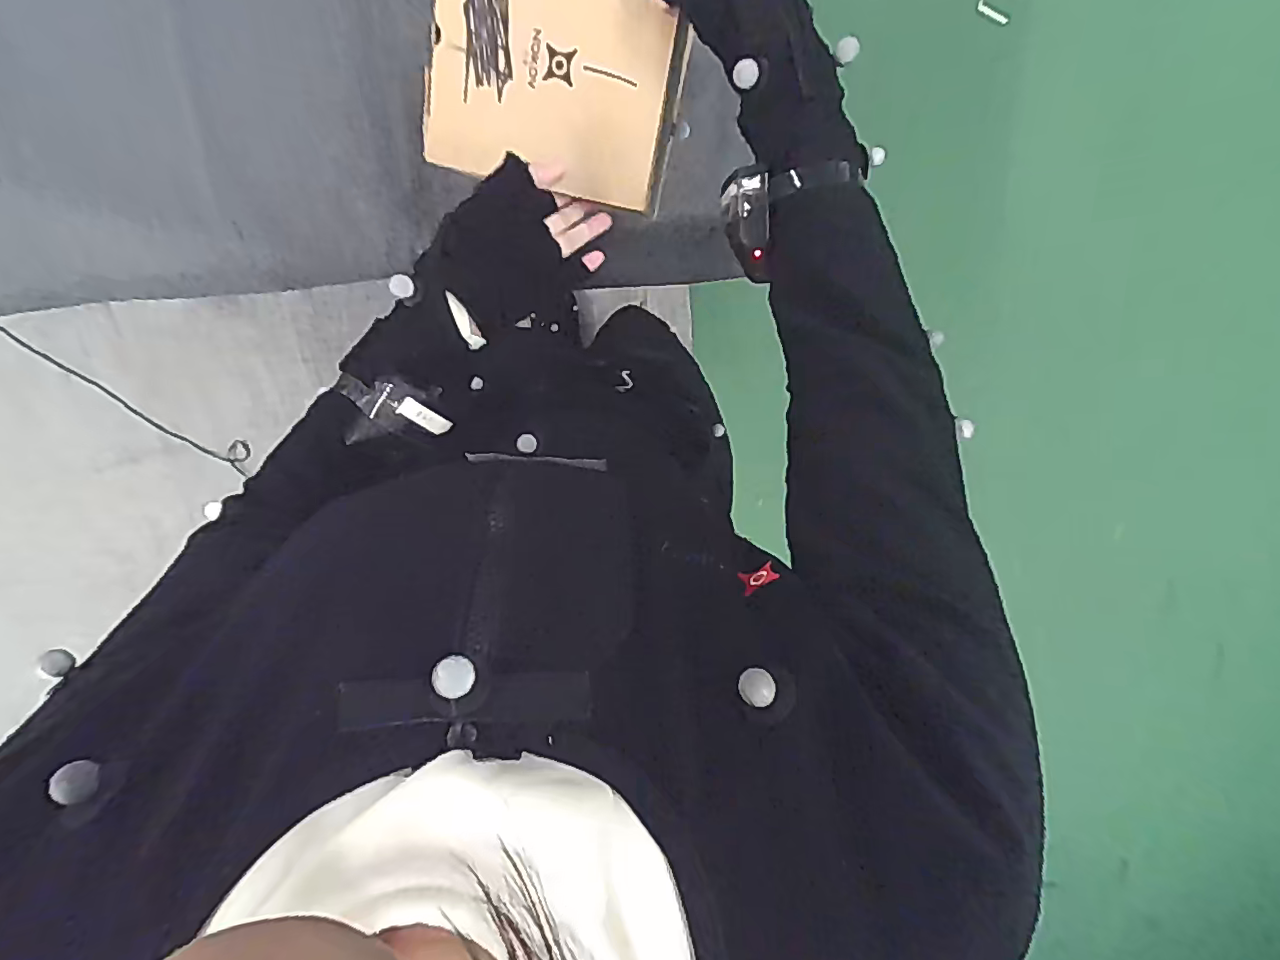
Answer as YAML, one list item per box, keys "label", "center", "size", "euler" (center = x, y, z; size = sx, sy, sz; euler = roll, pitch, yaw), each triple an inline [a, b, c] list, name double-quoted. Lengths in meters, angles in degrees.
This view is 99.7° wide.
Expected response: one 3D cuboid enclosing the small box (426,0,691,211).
- label: "small box"
  center: [-0.058, -0.333, 0.457]
  size: [0.179, 0.176, 0.168]
  euler: [11, 115, -1]
